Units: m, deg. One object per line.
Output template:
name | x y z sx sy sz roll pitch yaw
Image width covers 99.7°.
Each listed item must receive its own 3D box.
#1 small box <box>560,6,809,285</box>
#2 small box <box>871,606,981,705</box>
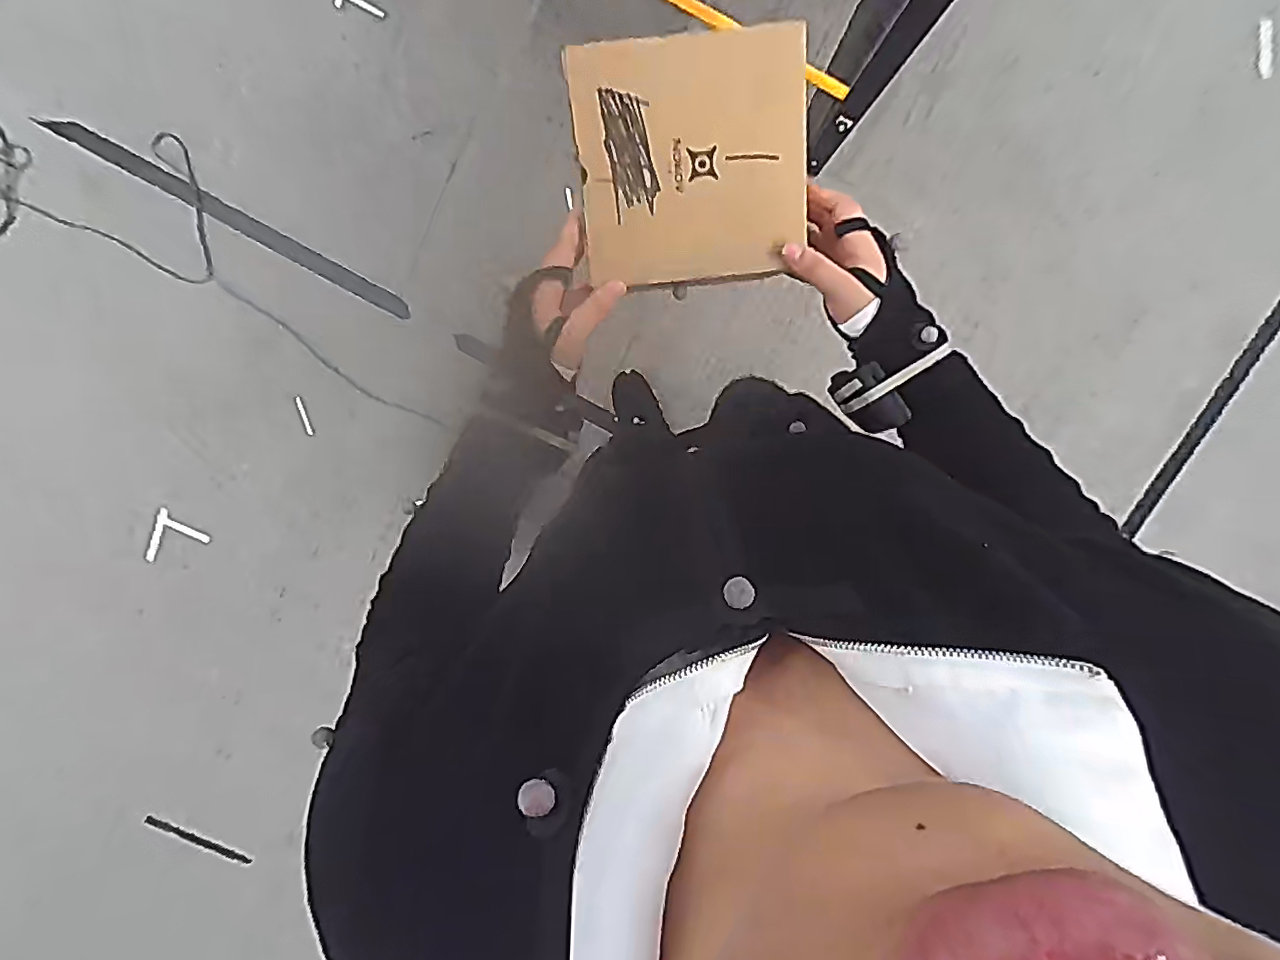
small box | 0.036 -0.266 0.473 0.179 0.176 0.168 -5 108 1
small box | 0.768 0.468 1.476 0.179 0.176 0.168 25 101 -3
